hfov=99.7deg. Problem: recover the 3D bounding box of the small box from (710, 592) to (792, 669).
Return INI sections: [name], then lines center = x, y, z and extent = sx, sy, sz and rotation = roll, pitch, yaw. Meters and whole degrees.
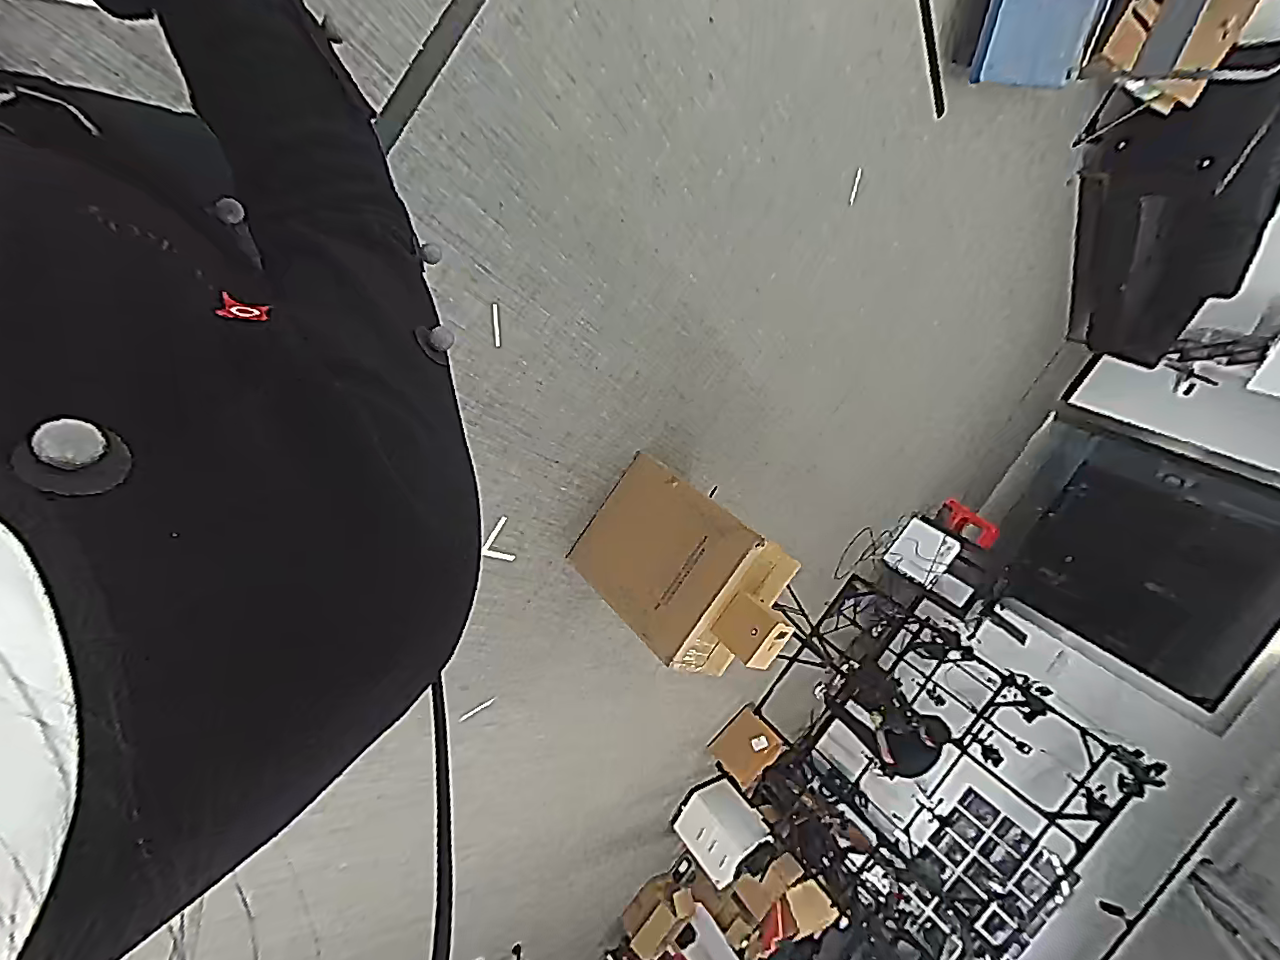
[small box]
center = 0.362, 0.494, 1.778
extent = 0.179, 0.176, 0.168
rotation = -55, 140, 3
